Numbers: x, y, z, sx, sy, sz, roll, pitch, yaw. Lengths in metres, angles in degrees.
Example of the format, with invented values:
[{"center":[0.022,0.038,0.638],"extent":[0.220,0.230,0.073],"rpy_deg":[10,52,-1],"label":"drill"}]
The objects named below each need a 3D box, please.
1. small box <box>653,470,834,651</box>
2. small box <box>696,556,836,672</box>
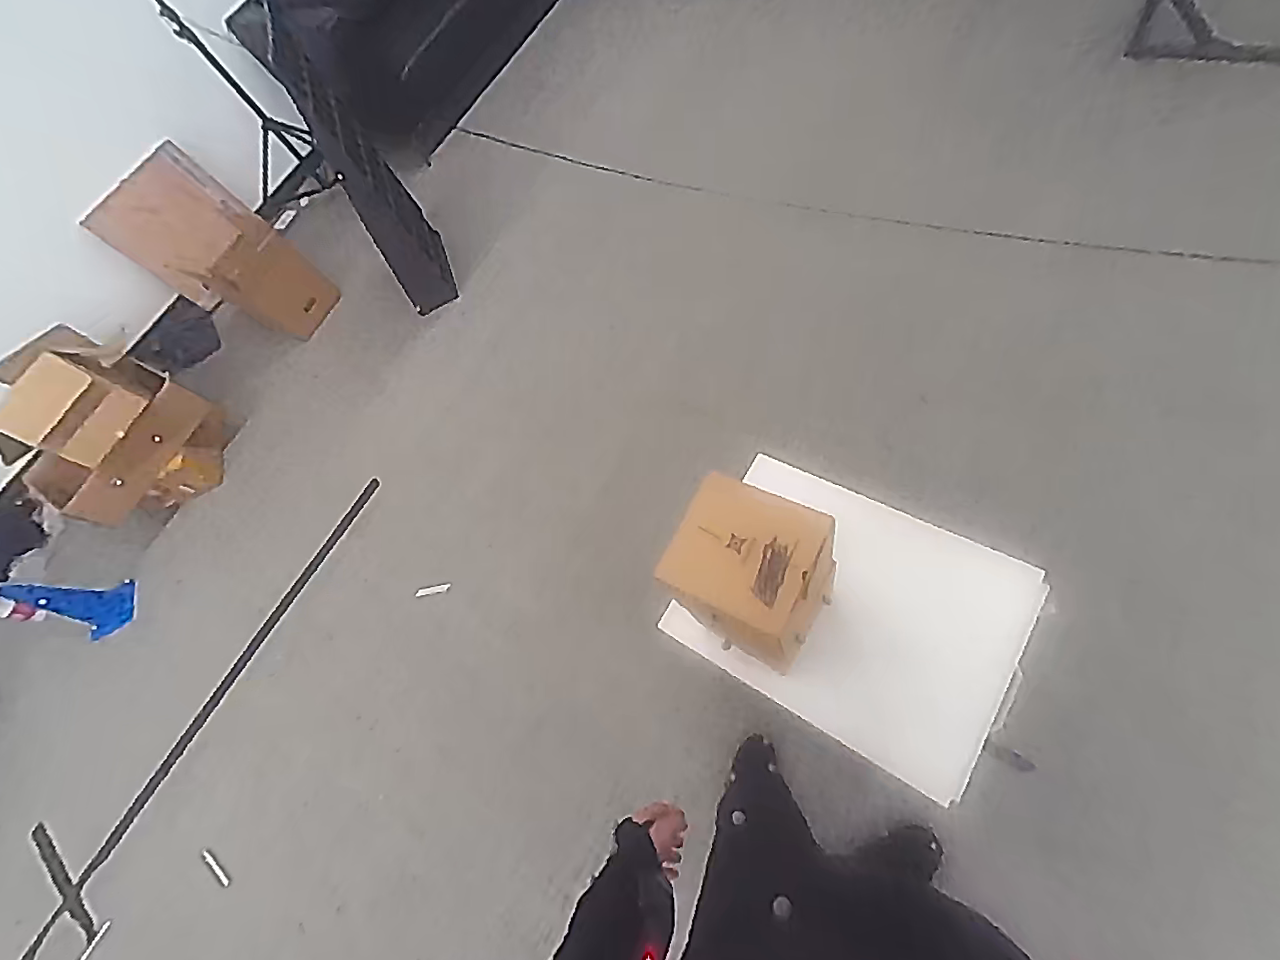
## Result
[{"center":[0.148,0.117,0.738],"extent":[0.179,0.176,0.168],"rpy_deg":[22,73,27],"label":"small box"},{"center":[0.198,0.187,0.879],"extent":[0.168,0.176,0.179],"rpy_deg":[27,76,26],"label":"small box"}]
